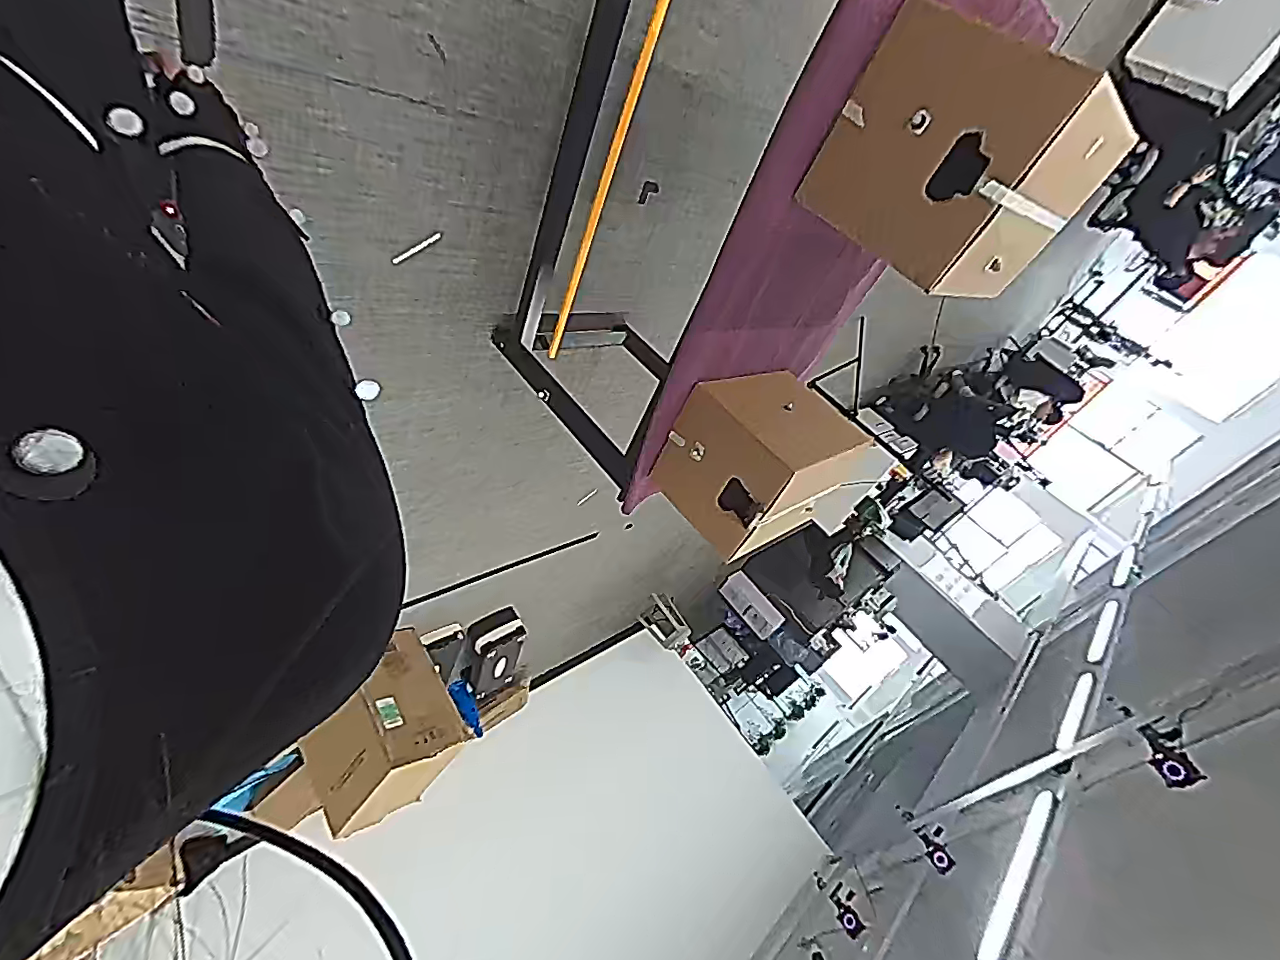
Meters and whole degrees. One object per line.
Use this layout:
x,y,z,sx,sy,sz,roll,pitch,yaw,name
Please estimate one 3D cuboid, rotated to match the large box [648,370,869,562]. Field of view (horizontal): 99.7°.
0.294,-0.056,1.383,0.408,0.320,0.320,-18,147,-43,large box
